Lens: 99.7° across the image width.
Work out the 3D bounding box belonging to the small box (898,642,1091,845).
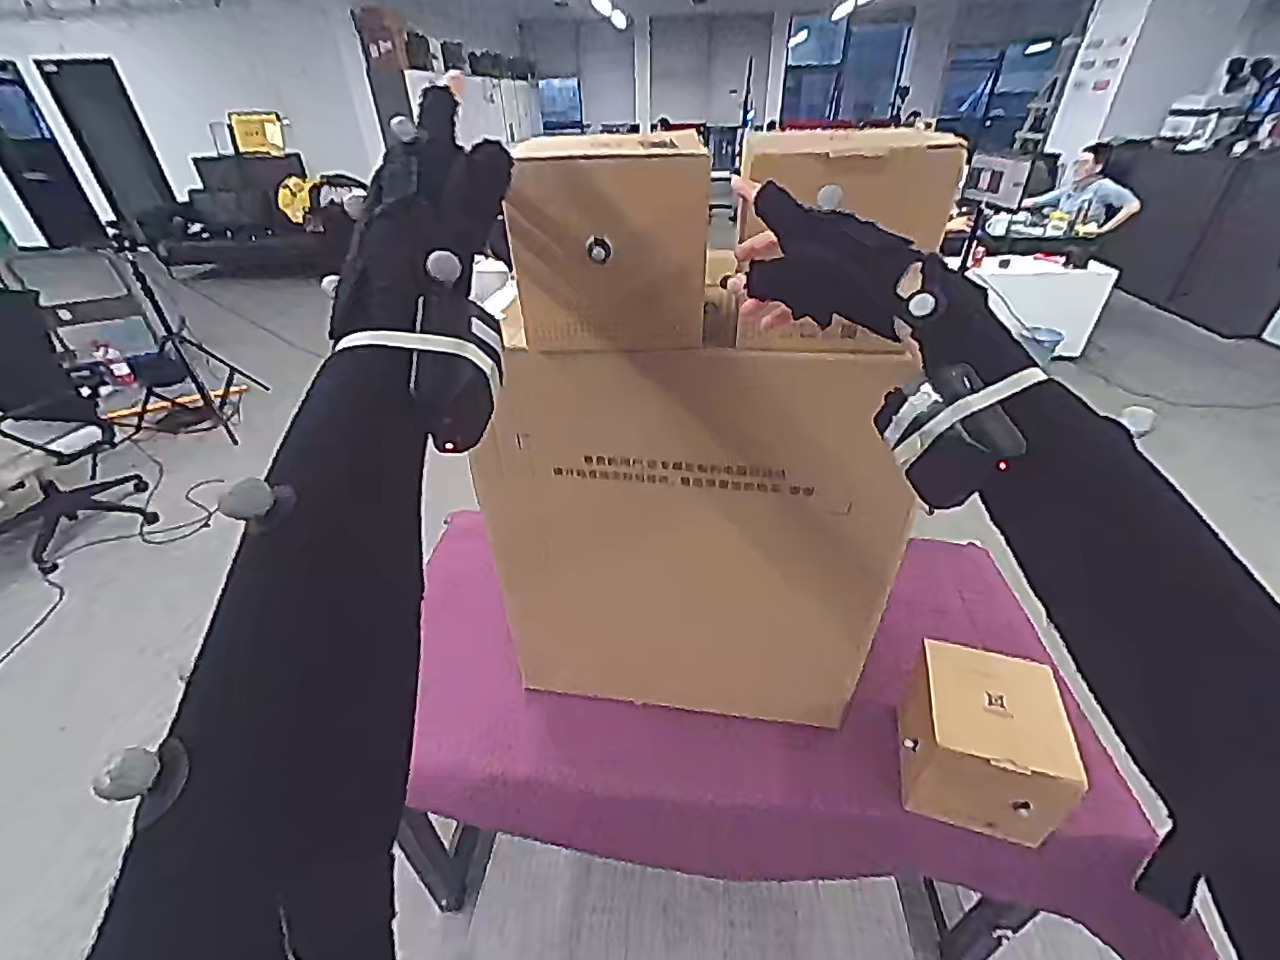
[{"bbox_3d":[0.473,0.365,0.755,0.168,0.176,0.179,10,35,15],"label":"small box"}]

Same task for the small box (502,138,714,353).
[{"bbox_3d":[-0.022,-0.239,0.551,0.179,0.176,0.168,-1,36,2],"label":"small box"}]

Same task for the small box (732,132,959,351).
[{"bbox_3d":[0.183,-0.239,0.542,0.168,0.176,0.179,4,37,7],"label":"small box"}]
